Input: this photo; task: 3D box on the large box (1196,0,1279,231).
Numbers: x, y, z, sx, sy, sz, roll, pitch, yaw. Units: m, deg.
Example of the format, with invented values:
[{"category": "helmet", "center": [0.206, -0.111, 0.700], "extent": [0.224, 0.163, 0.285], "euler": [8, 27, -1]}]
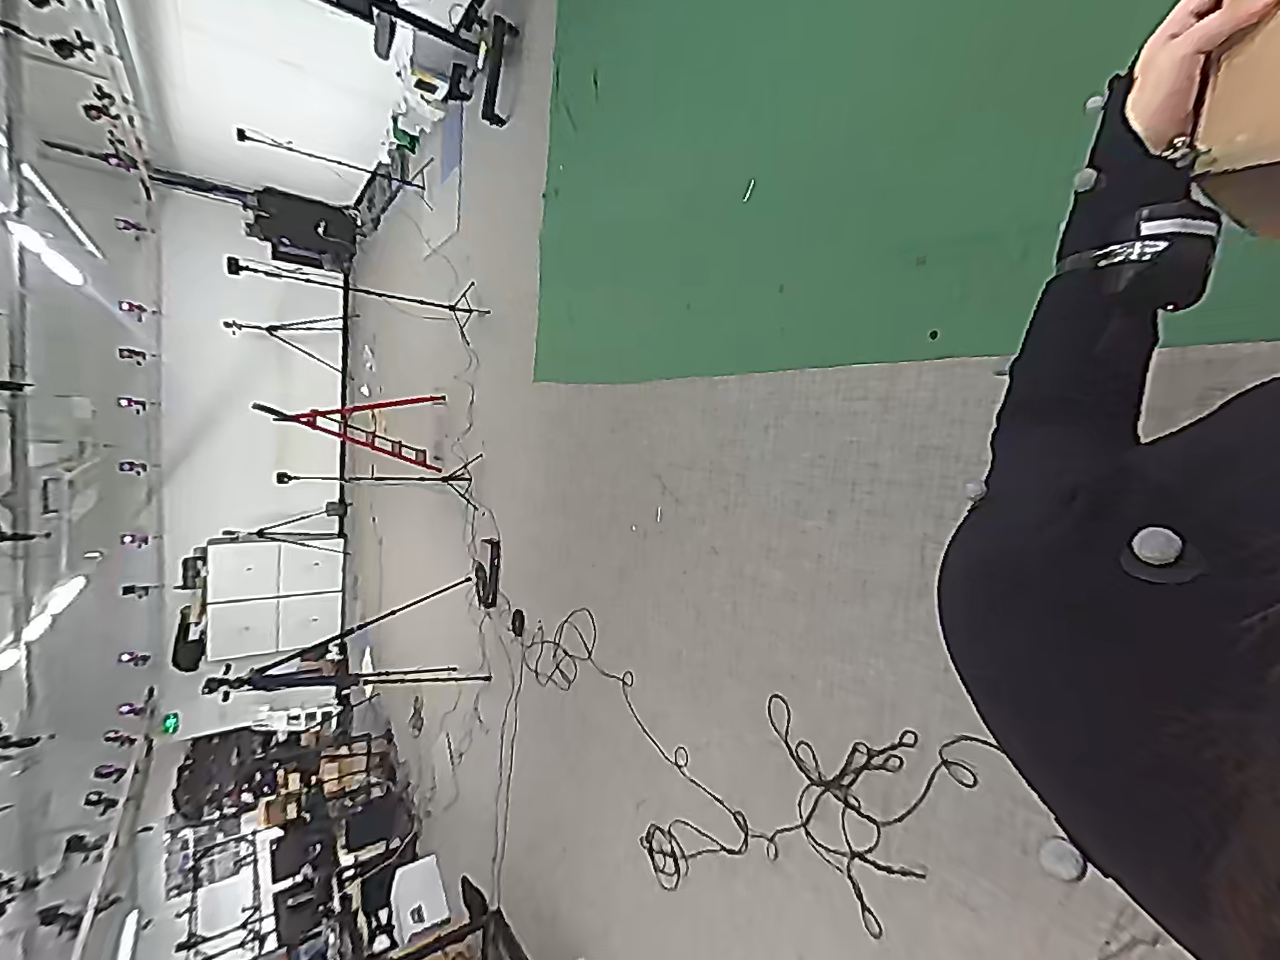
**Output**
[{"category": "large box", "center": [0.644, -0.351, 0.286], "extent": [0.408, 0.320, 0.320], "euler": [18, 110, 55]}]
